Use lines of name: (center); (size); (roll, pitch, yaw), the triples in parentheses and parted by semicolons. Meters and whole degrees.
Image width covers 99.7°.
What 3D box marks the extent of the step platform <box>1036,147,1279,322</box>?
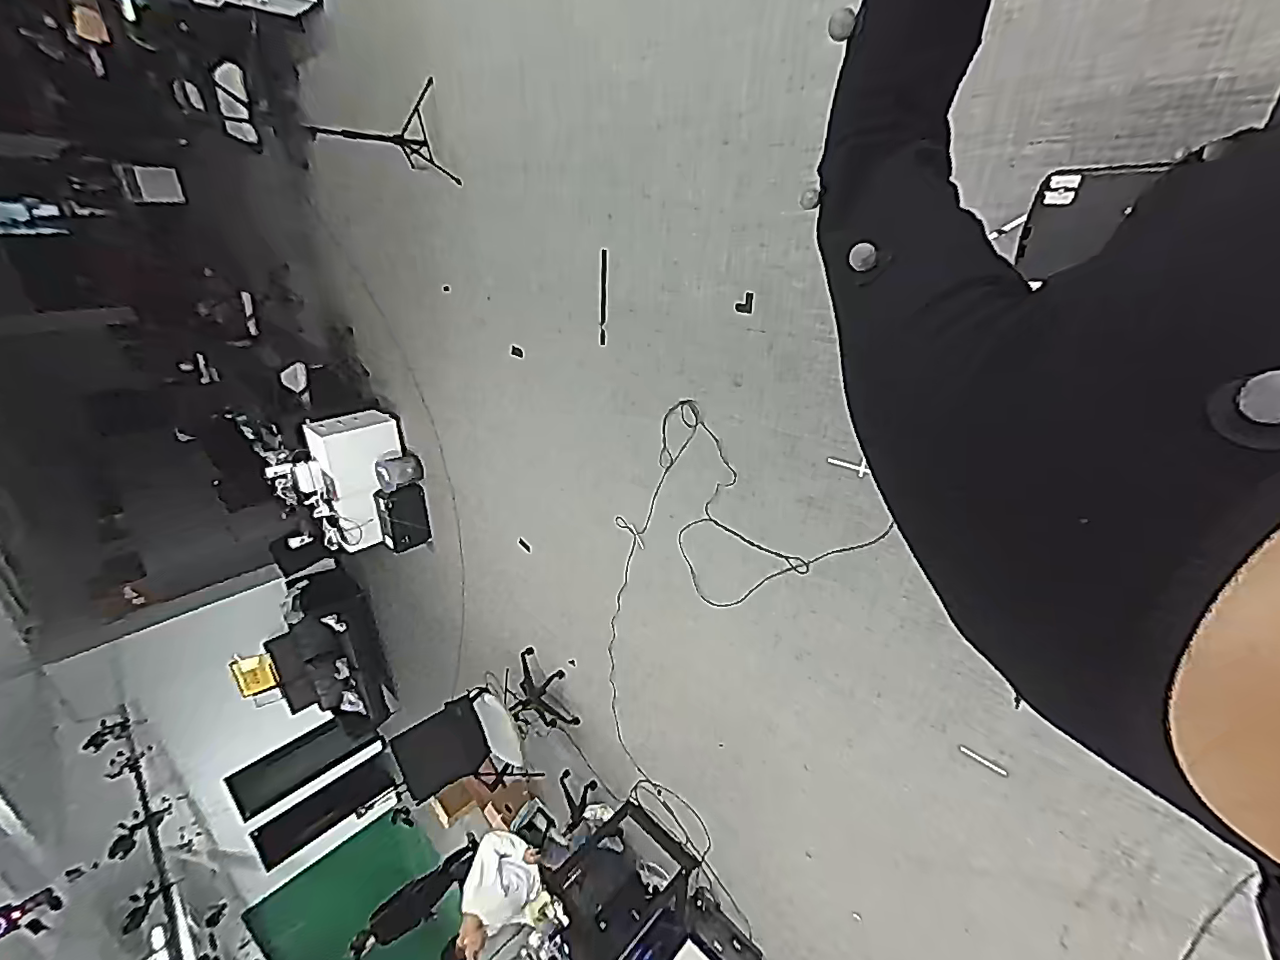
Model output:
step platform: (1.158, -0.450, 0.996); (0.684, 0.204, 0.286); (20, 122, 39)
